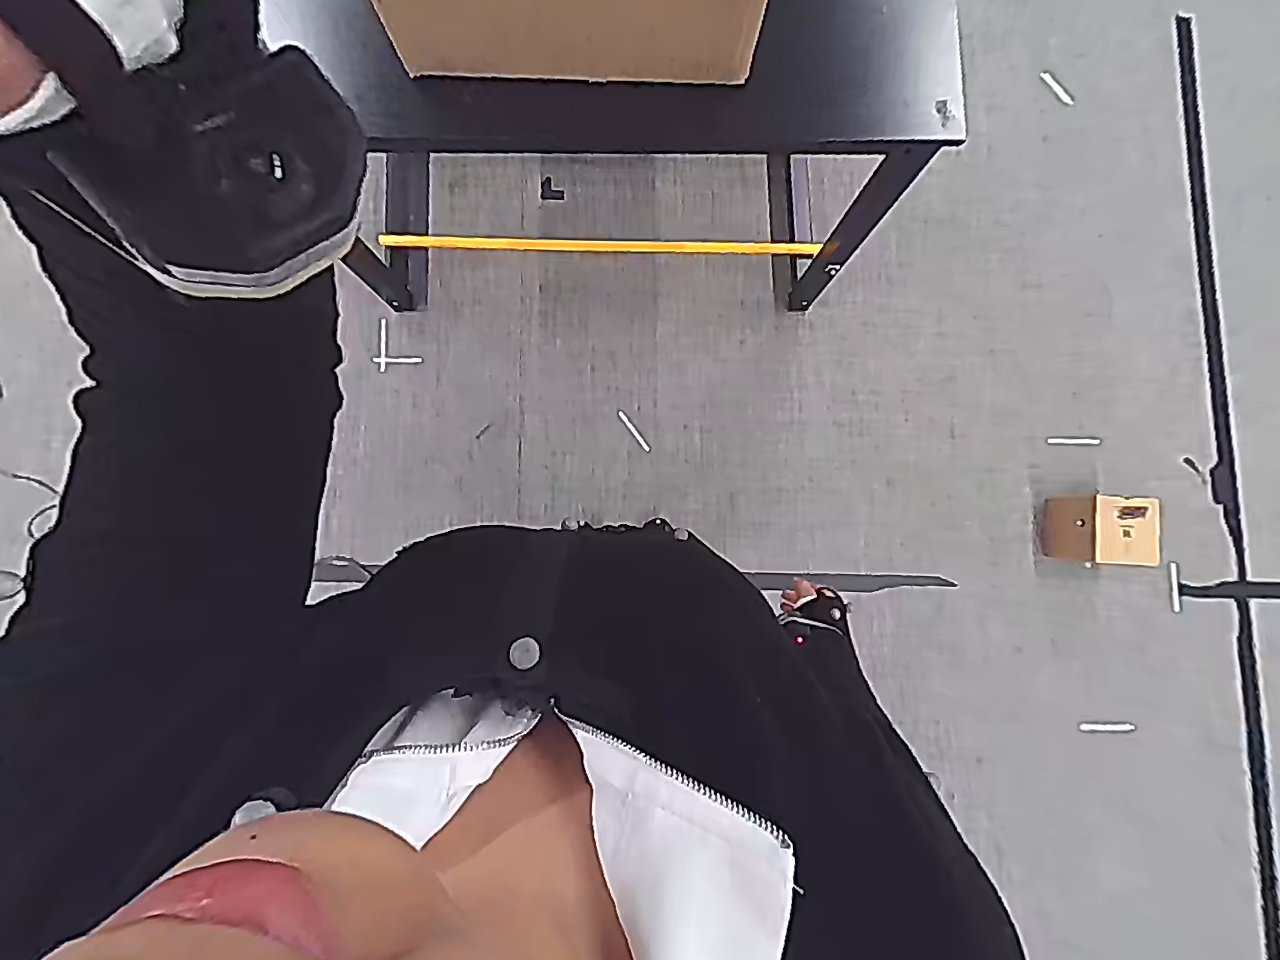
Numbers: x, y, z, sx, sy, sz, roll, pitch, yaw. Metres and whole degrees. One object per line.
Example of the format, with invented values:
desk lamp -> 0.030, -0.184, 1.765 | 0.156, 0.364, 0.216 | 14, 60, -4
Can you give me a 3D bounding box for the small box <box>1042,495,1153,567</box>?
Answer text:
small box -> 1.230, 0.137, 1.465 | 0.168, 0.176, 0.179 | 4, 86, -1
